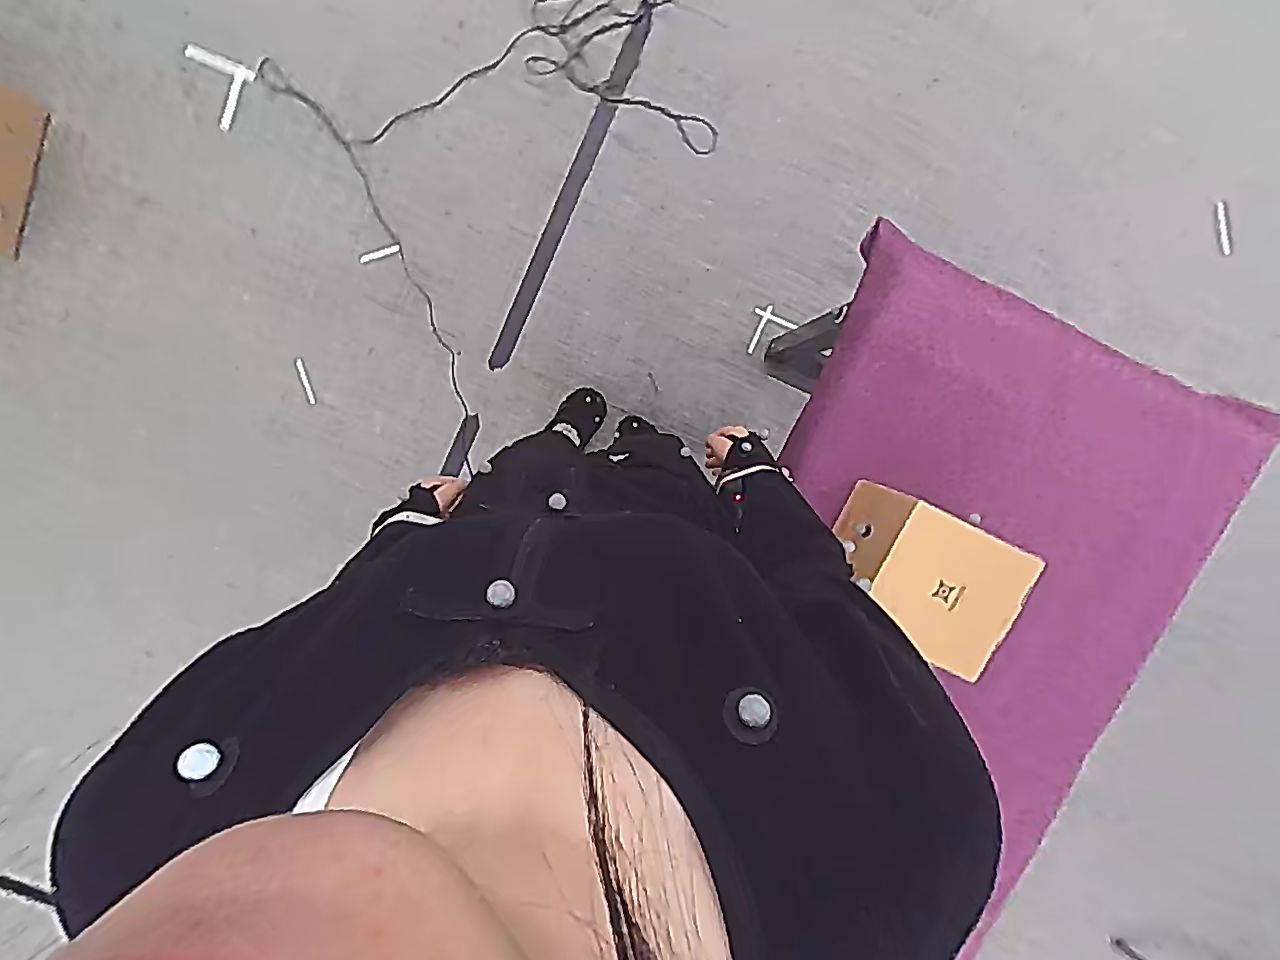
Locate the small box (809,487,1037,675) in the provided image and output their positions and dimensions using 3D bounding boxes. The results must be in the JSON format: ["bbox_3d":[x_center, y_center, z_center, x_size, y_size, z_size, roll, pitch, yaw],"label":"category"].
[{"bbox_3d":[0.354,0.118,0.716,0.179,0.176,0.168,25,96,-6],"label":"small box"}]
